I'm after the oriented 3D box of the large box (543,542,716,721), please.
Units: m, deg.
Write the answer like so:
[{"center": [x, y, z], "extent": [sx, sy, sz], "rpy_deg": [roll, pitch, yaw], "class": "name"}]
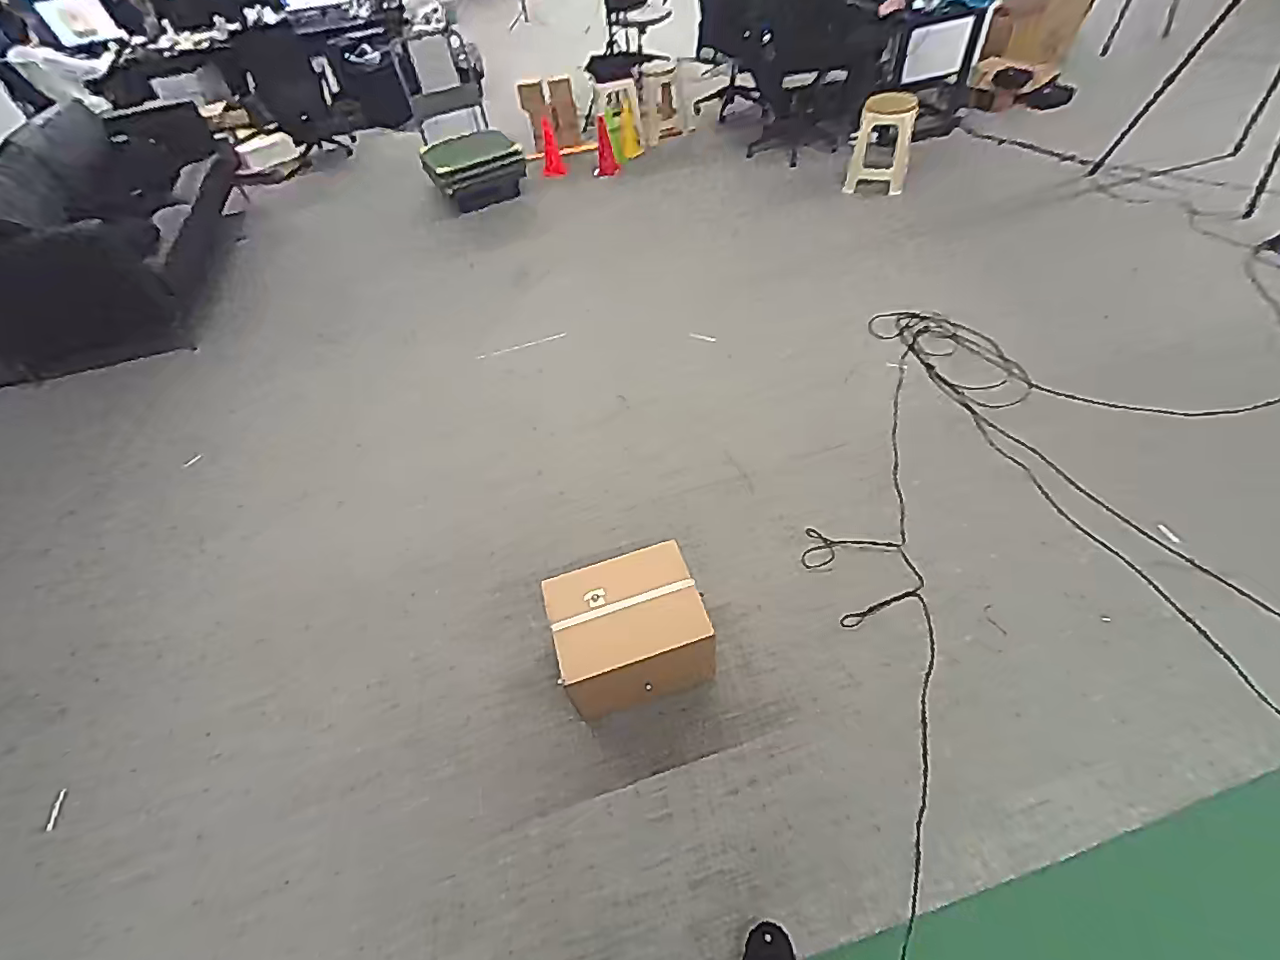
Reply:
[{"center": [-0.023, 0.444, 1.574], "extent": [0.408, 0.320, 0.320], "rpy_deg": [-19, 50, -7], "class": "large box"}]
